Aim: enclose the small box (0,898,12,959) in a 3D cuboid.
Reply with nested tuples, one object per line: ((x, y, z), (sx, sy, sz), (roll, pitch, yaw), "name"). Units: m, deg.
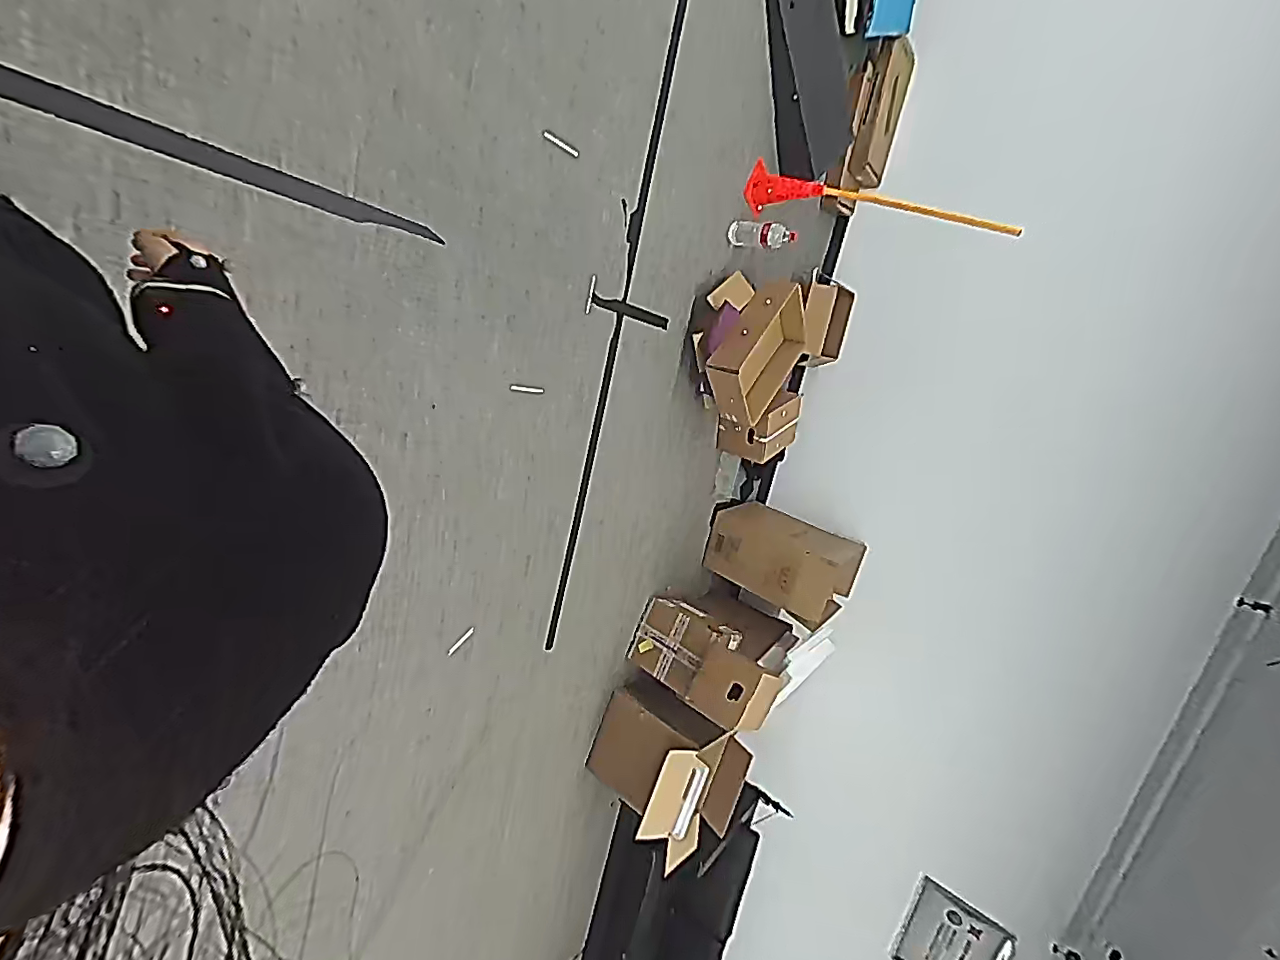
((-1.425, 0.942, 1.097), (0.168, 0.176, 0.179), (-19, 123, -50), "small box")
